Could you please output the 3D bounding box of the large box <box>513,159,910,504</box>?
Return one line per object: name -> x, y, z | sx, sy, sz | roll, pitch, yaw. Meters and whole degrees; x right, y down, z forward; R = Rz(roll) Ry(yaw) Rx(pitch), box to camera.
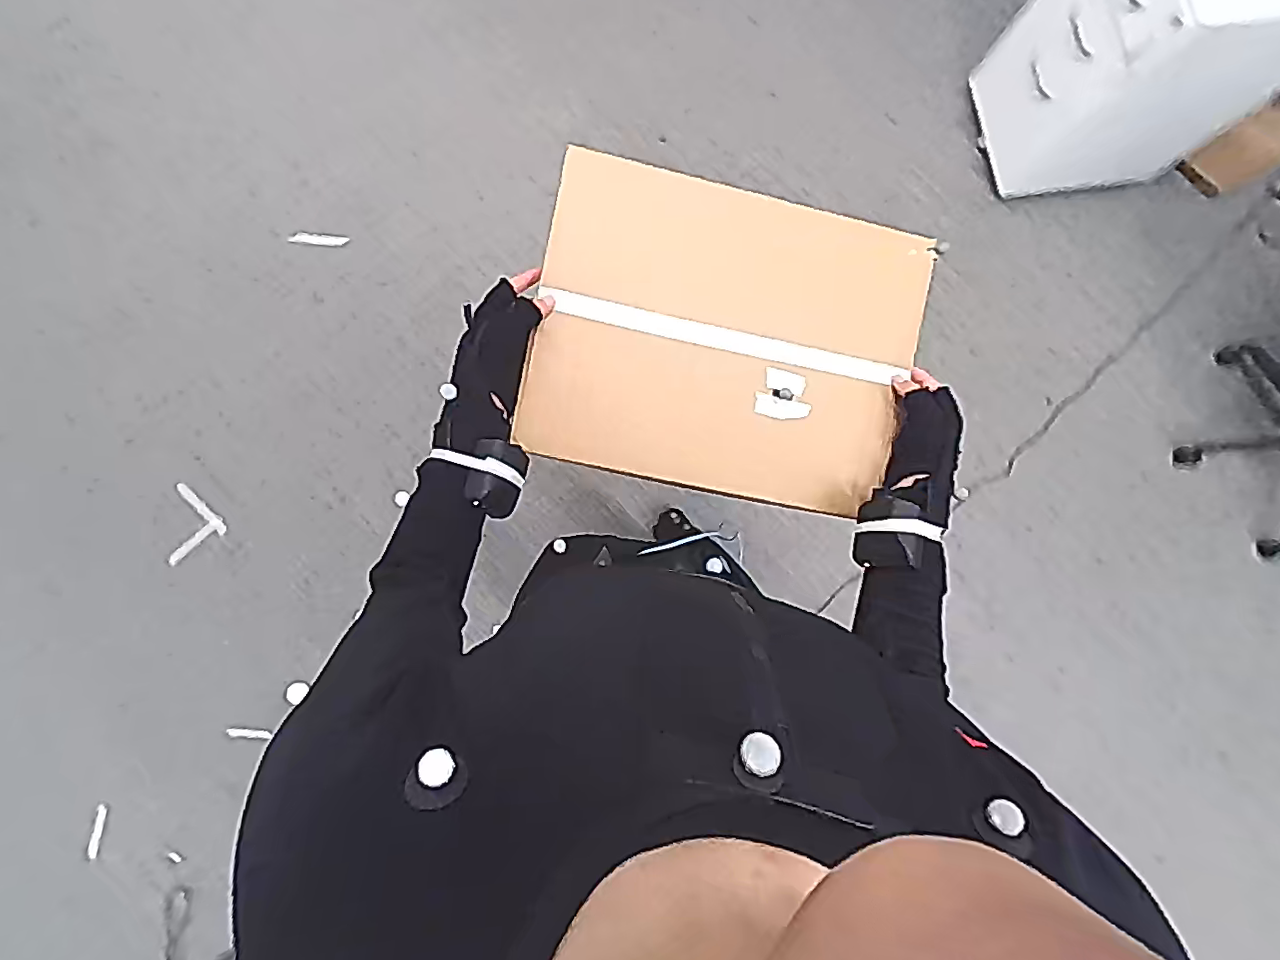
large box -> 0.067, -0.158, 0.731 | 0.408, 0.320, 0.320 | 11, 91, -6
